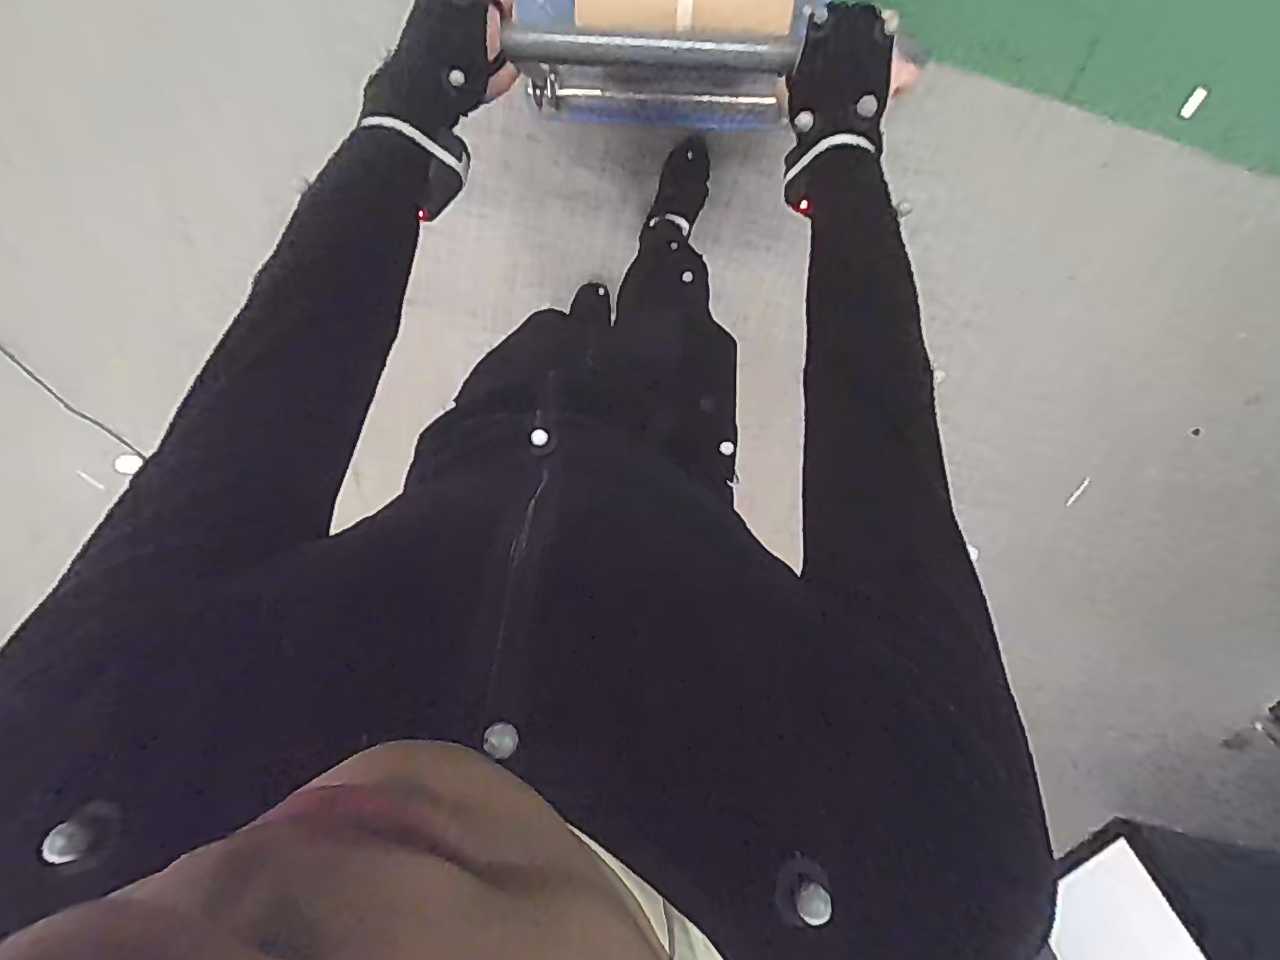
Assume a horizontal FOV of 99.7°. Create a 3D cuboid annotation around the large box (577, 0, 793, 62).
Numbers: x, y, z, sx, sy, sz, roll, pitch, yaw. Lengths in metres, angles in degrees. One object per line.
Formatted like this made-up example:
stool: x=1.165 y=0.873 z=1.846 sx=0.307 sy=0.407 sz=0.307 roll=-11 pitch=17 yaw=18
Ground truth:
large box: x=0.075 y=-0.903 z=0.818 sx=0.320 sy=0.320 sz=0.408 roll=3 pitch=121 yaw=1
